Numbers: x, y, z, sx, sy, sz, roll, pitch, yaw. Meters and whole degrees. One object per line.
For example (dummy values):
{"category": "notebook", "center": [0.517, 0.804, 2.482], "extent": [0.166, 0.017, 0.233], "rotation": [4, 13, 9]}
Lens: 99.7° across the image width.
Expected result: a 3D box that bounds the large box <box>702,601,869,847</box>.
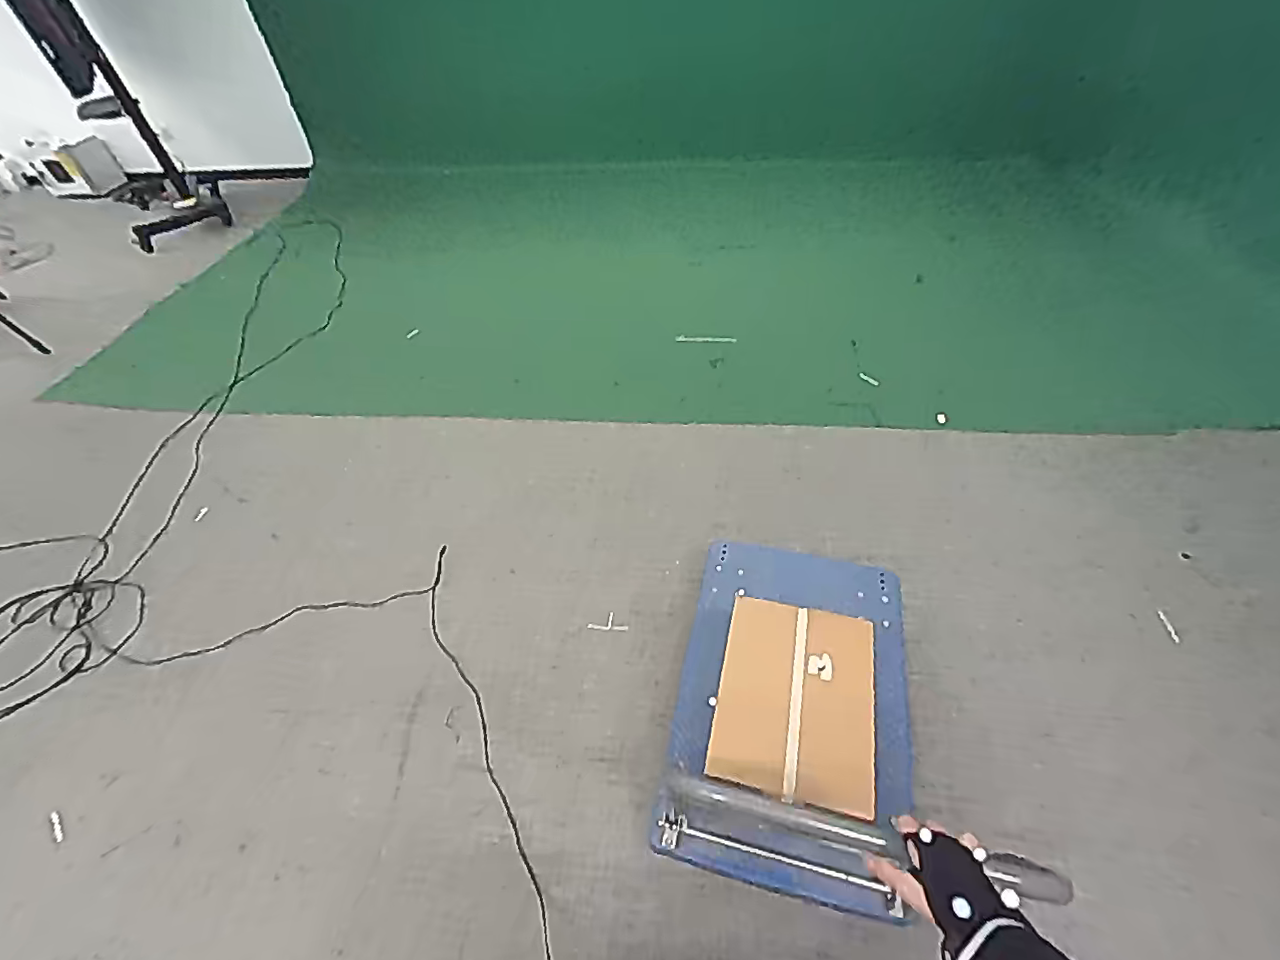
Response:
{"category": "large box", "center": [0.326, 0.558, 1.254], "extent": [0.320, 0.320, 0.408], "rotation": [9, 47, 12]}
